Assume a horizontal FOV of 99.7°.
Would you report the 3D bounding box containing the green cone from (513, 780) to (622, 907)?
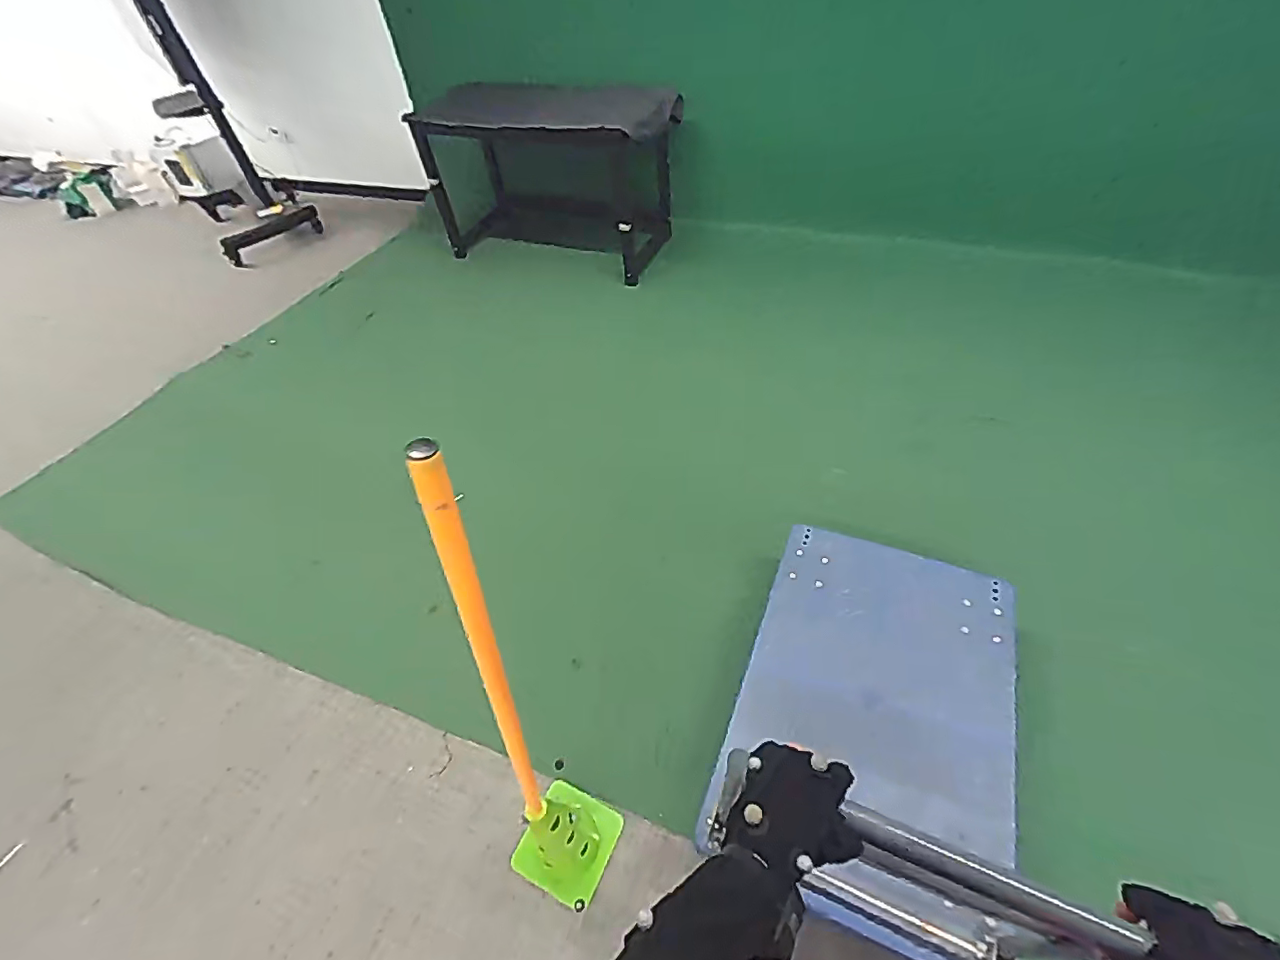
[{"bbox_3d":[-0.178,0.712,1.122,0.202,0.368,0.200,17,51,21],"label":"green cone"}]
